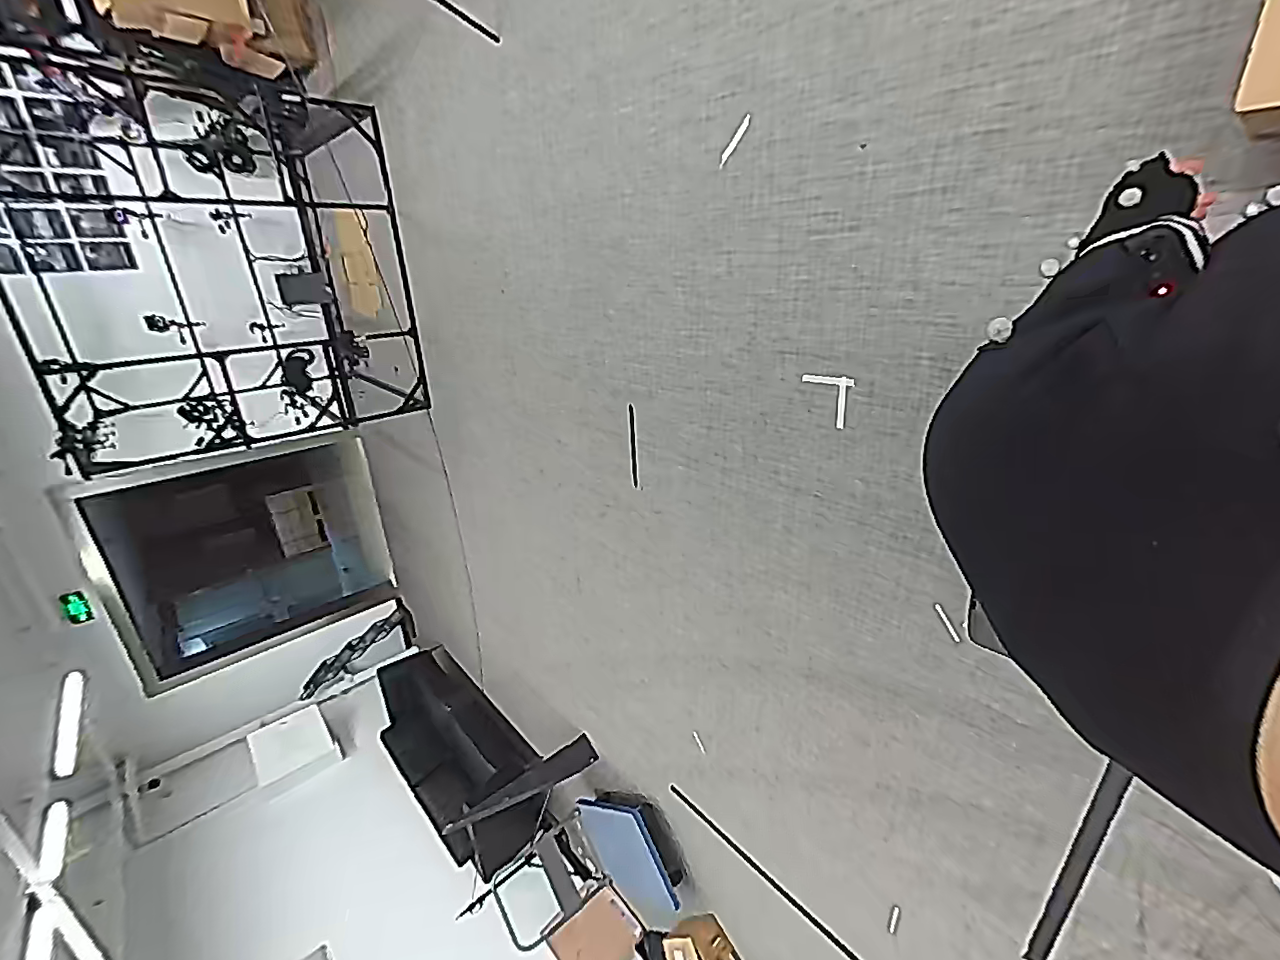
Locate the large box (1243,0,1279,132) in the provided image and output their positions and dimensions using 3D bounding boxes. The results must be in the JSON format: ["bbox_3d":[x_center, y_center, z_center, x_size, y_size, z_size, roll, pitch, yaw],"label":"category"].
[{"bbox_3d":[1.059,-0.651,0.644,0.408,0.320,0.320,20,121,44],"label":"large box"}]
